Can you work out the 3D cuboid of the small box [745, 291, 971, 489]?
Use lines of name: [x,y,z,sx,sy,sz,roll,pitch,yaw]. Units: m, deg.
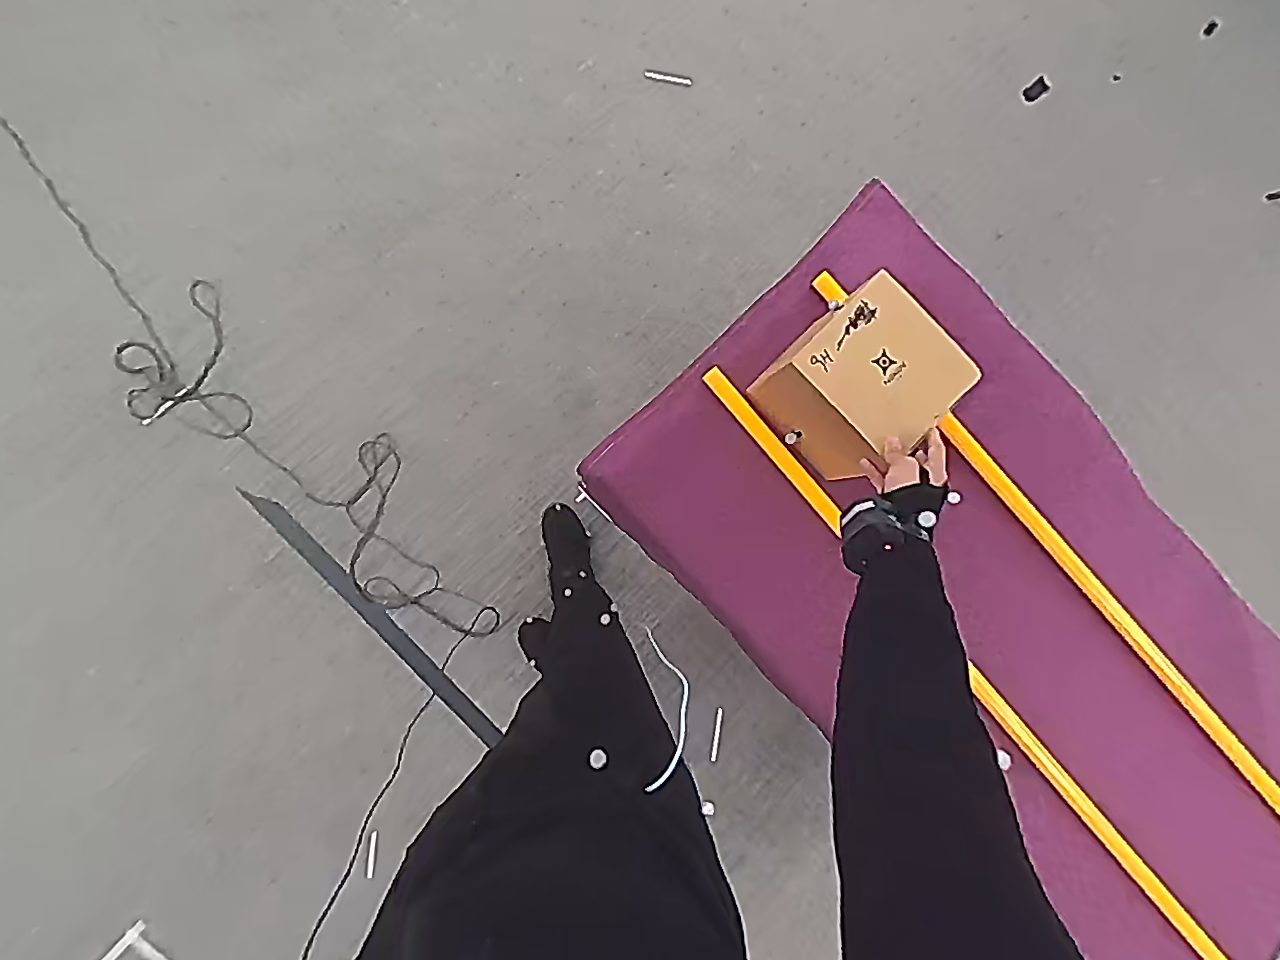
small box: [0.270,-0.105,0.708,0.168,0.176,0.179,-44,93,-8]
